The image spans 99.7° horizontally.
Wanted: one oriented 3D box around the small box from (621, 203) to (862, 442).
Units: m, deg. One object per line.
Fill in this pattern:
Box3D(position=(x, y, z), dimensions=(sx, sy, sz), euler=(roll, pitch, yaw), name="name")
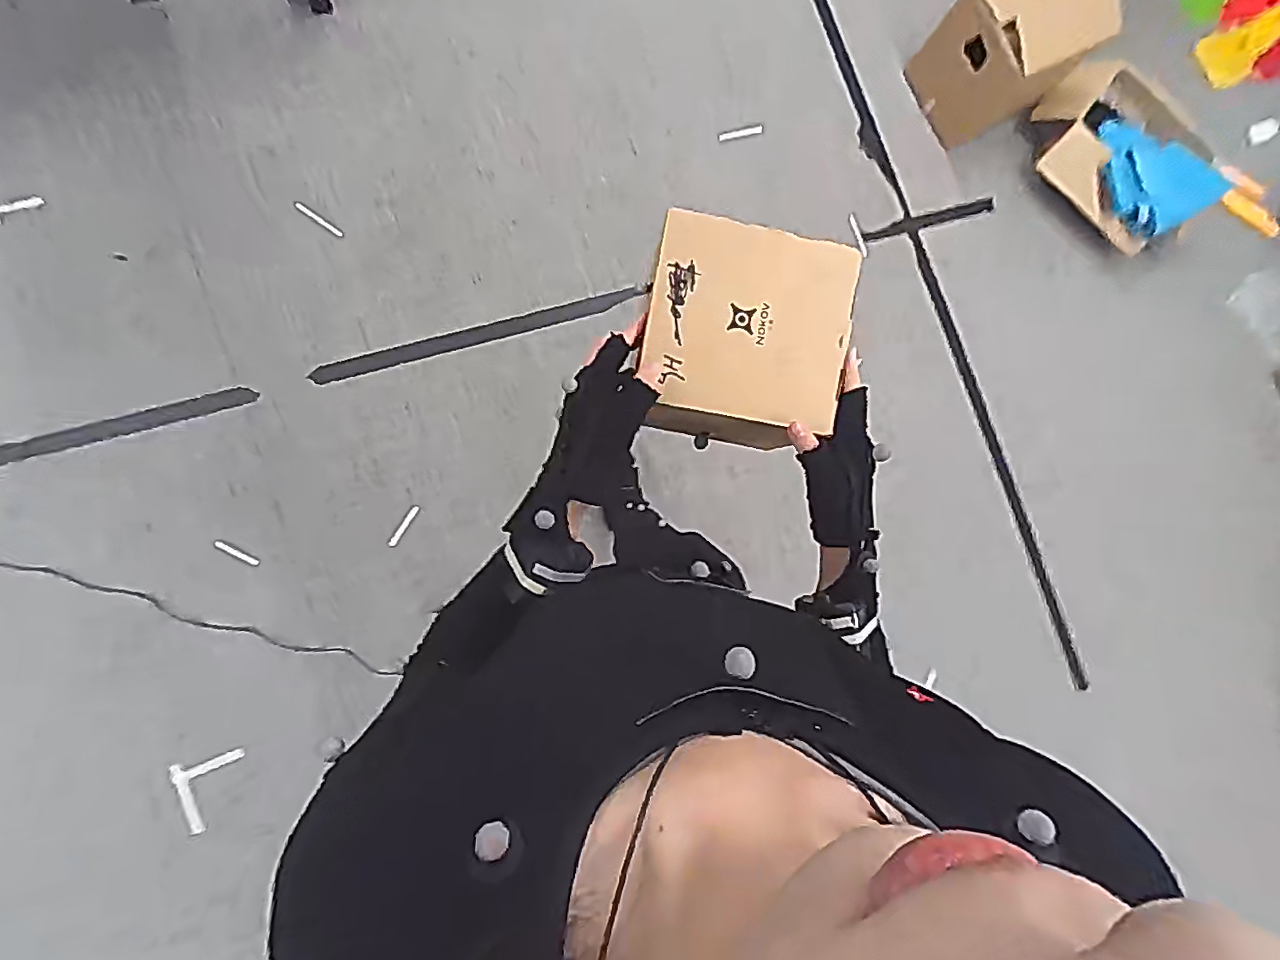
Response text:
Box3D(position=(0.085, -0.135, 0.537), dimensions=(0.179, 0.176, 0.168), euler=(11, 88, -6), name="small box")
